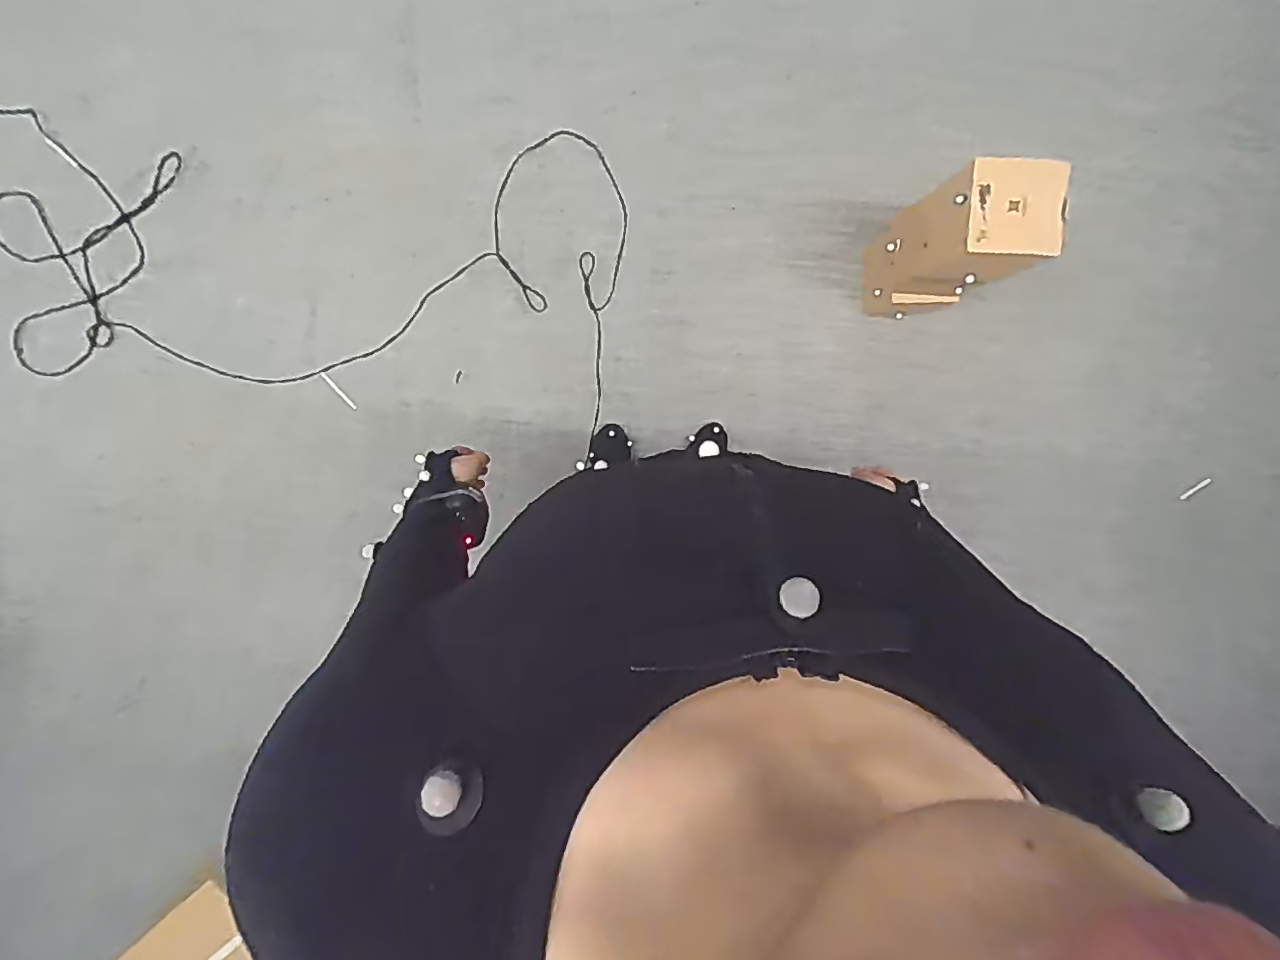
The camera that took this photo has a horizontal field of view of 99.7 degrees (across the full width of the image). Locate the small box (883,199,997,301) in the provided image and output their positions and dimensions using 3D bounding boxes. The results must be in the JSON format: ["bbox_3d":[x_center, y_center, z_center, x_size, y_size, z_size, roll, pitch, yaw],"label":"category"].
[{"bbox_3d":[0.676,-0.508,1.215,0.179,0.176,0.168,3,95,-1],"label":"small box"}]

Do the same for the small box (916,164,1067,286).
[{"bbox_3d":[0.674,-0.485,1.052,0.179,0.176,0.168,2,95,-2],"label":"small box"}]
